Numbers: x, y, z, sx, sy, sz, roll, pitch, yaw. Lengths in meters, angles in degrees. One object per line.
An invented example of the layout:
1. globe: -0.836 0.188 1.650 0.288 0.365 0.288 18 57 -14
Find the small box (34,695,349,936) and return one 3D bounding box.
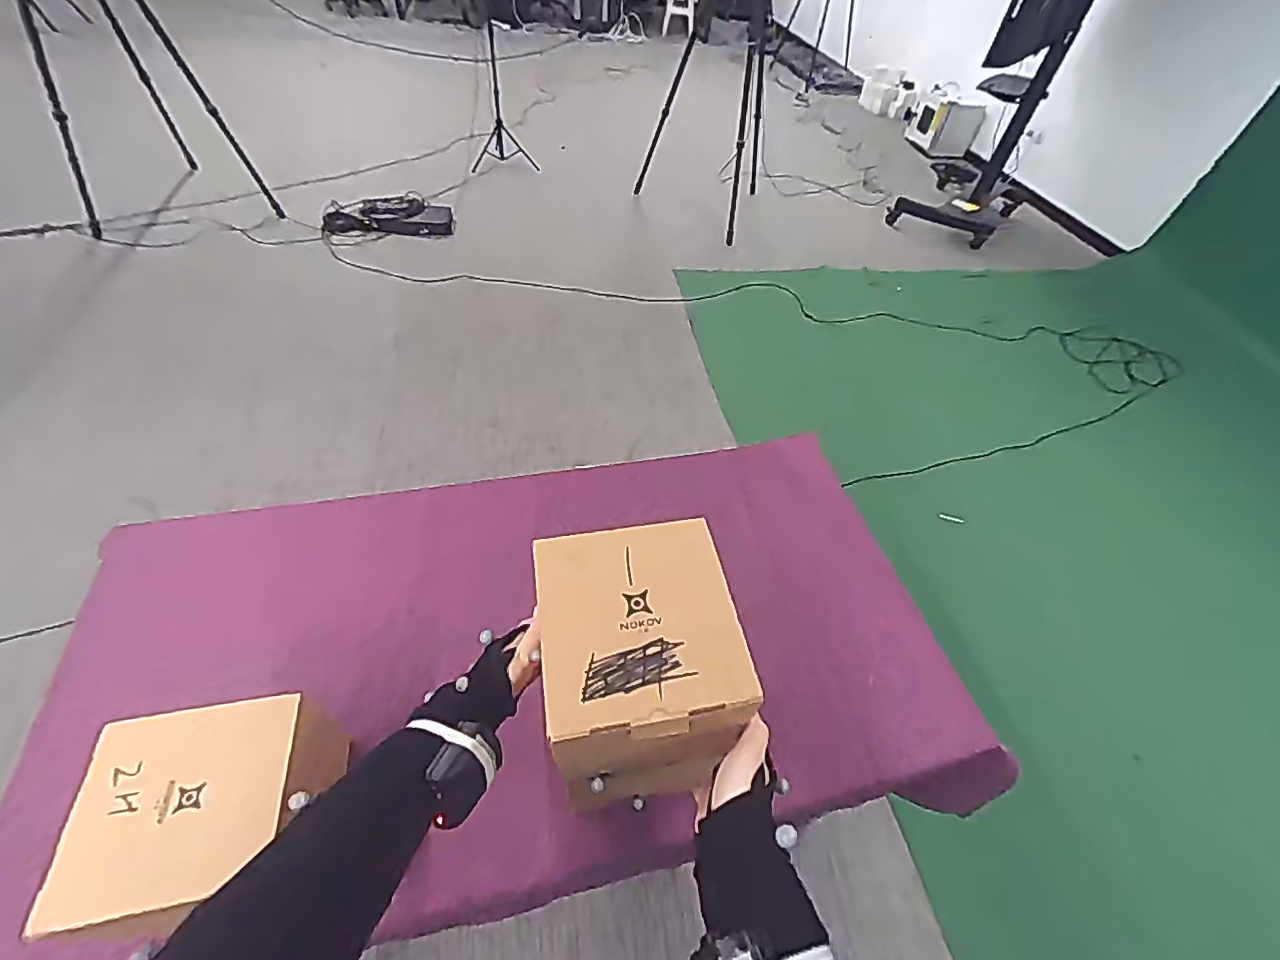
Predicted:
1. small box: -0.424 0.344 0.558 0.179 0.176 0.168 -6 50 -11
